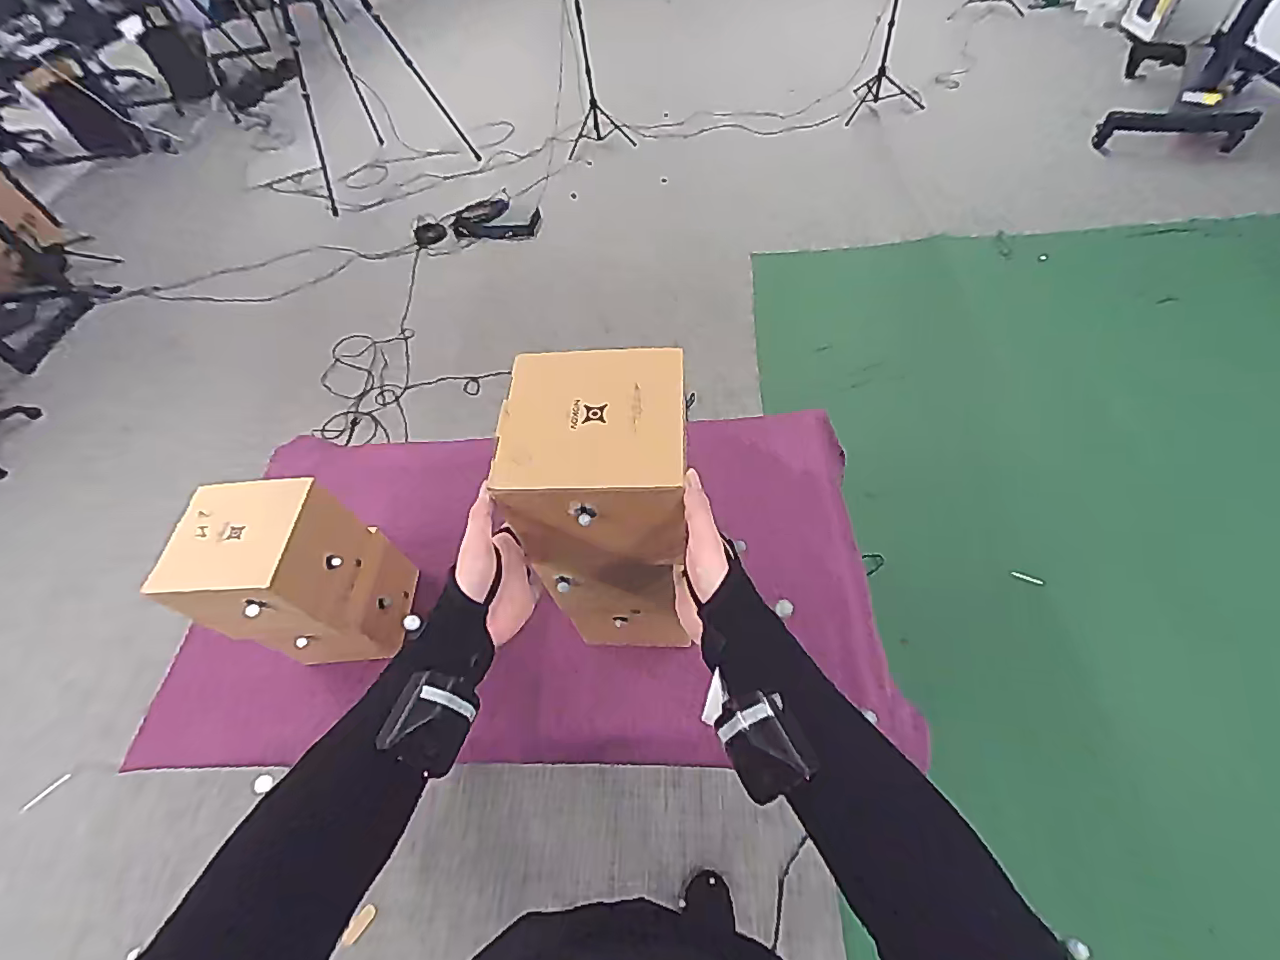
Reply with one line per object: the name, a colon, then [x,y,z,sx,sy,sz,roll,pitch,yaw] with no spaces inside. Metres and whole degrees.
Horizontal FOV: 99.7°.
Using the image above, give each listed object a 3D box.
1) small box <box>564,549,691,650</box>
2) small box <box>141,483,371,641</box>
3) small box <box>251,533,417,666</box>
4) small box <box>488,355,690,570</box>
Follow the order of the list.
small box: [-0.009,0.166,0.867,0.179,0.176,0.168,-1,54,7]
small box: [-0.520,0.121,0.768,0.179,0.176,0.168,-4,54,6]
small box: [-0.505,0.205,0.911,0.179,0.176,0.168,-5,54,5]
small box: [-0.037,-0.011,0.573,0.179,0.176,0.168,-1,58,6]
